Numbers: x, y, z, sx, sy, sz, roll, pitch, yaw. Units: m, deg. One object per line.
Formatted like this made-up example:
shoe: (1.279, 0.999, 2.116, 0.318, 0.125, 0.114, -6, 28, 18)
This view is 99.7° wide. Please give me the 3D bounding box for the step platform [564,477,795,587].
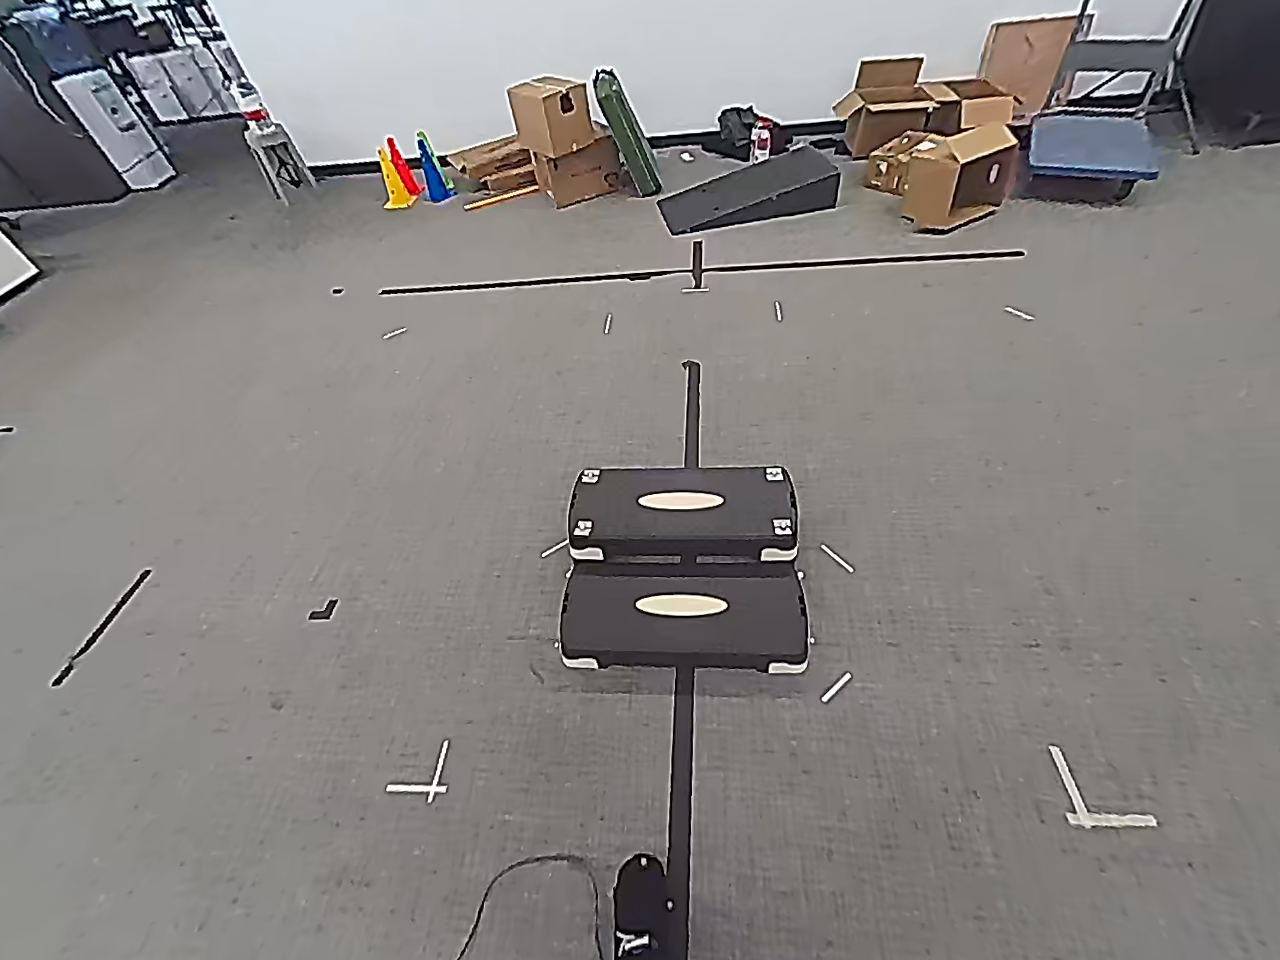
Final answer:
step platform: (0.114, 0.152, 1.641, 0.684, 0.204, 0.286, -1, 49, 6)
